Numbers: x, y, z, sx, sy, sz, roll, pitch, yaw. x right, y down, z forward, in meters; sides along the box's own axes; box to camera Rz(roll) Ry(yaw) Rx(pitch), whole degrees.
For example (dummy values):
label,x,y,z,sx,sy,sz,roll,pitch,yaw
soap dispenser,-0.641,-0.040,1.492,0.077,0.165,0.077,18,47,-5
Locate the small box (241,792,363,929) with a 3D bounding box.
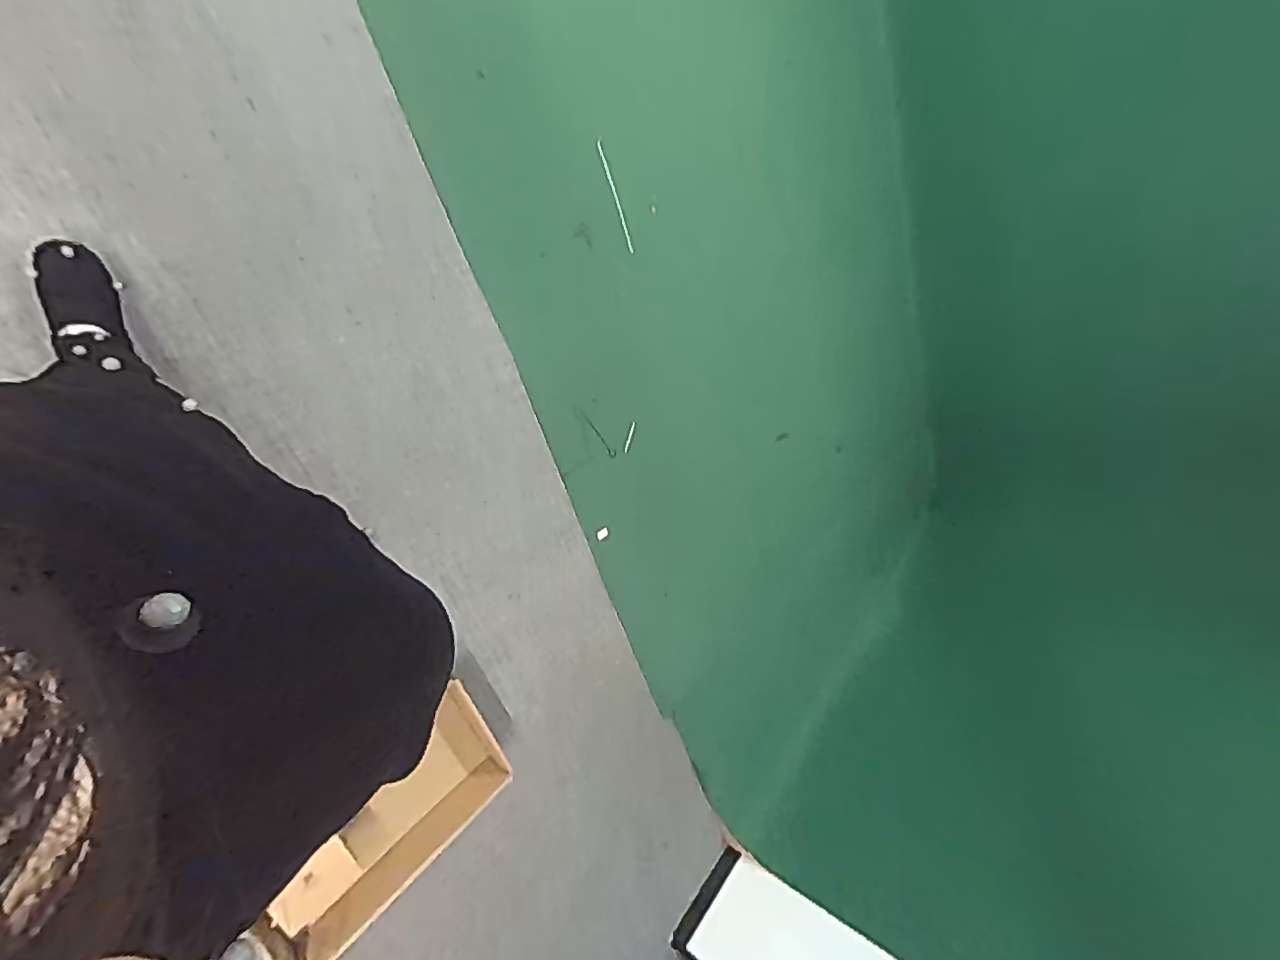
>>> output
label,x,y,z,sx,sy,sz,roll,pitch,yaw
small box,-0.787,0.868,1.256,0.168,0.176,0.179,-34,117,-36
